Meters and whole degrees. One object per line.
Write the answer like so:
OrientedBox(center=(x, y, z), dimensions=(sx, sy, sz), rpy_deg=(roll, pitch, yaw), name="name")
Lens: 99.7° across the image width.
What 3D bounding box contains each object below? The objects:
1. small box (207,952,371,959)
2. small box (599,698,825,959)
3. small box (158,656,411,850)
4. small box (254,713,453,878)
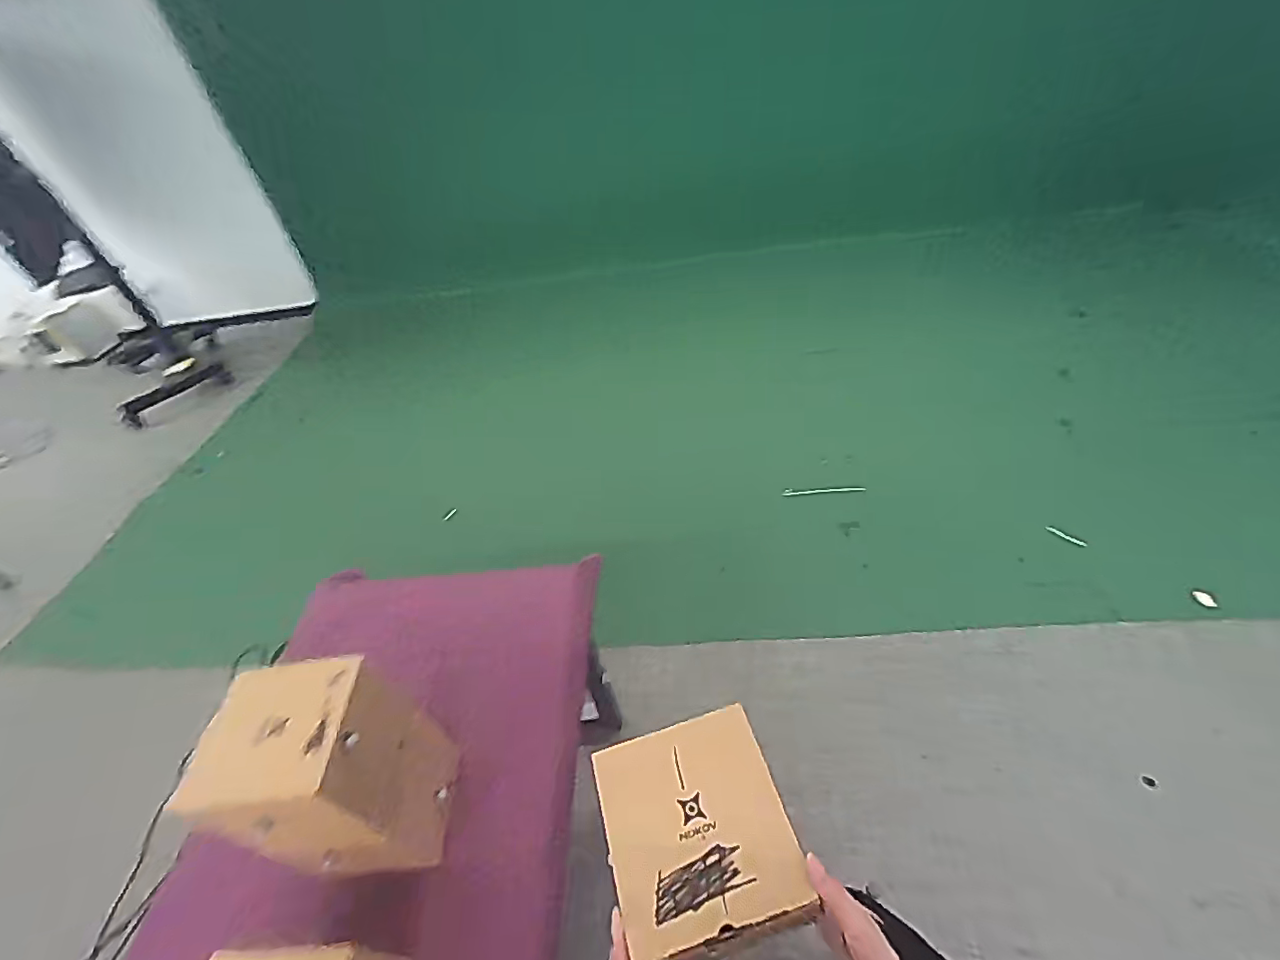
OrientedBox(center=(-0.401, 0.651, 0.605), dimensions=(0.179, 0.176, 0.168), rpy_deg=(-6, 43, 4), name="small box")
OrientedBox(center=(0.069, 0.359, 0.551), dimensions=(0.168, 0.176, 0.179), rpy_deg=(-17, 45, -4), name="small box")
OrientedBox(center=(-0.426, 0.349, 0.686), dimensions=(0.179, 0.176, 0.168), rpy_deg=(-9, 43, 3), name="small box")
OrientedBox(center=(-0.403, 0.468, 0.797), dimensions=(0.179, 0.176, 0.168), rpy_deg=(-8, 43, 3), name="small box")
